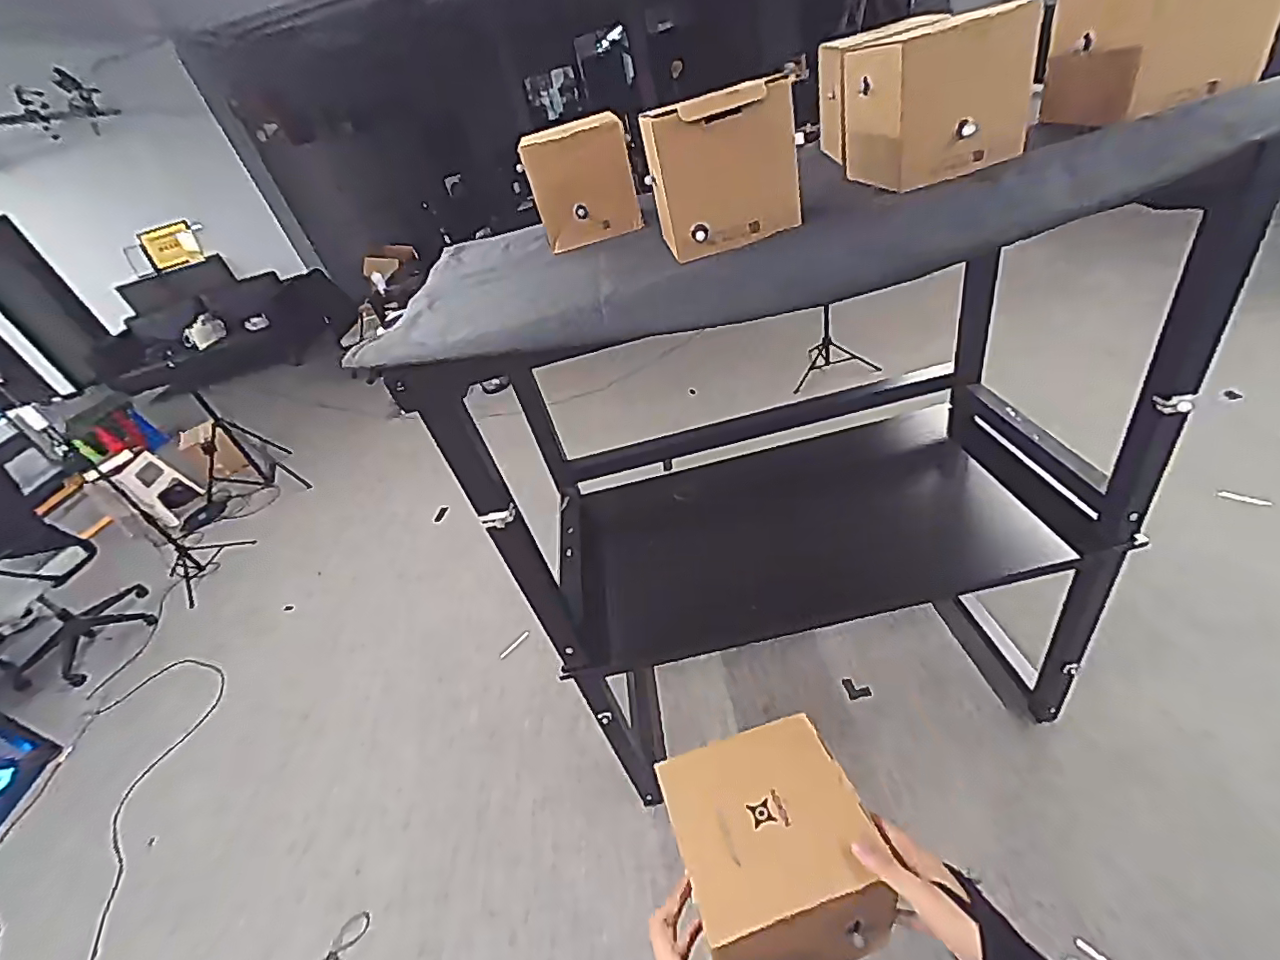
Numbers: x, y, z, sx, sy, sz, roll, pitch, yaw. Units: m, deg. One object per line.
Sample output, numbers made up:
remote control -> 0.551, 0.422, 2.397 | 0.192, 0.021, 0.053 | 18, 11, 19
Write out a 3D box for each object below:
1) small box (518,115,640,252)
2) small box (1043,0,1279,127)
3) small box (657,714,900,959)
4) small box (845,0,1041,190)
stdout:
small box -> -0.104, -0.520, 0.951 | 0.168, 0.176, 0.179 | -16, 38, 2
small box -> 0.682, -0.588, 0.719 | 0.168, 0.176, 0.179 | -14, 36, 5
small box -> 0.129, 0.381, 0.549 | 0.179, 0.176, 0.168 | -16, 30, -8
small box -> 0.393, -0.513, 0.738 | 0.168, 0.176, 0.179 | -15, 36, 4
